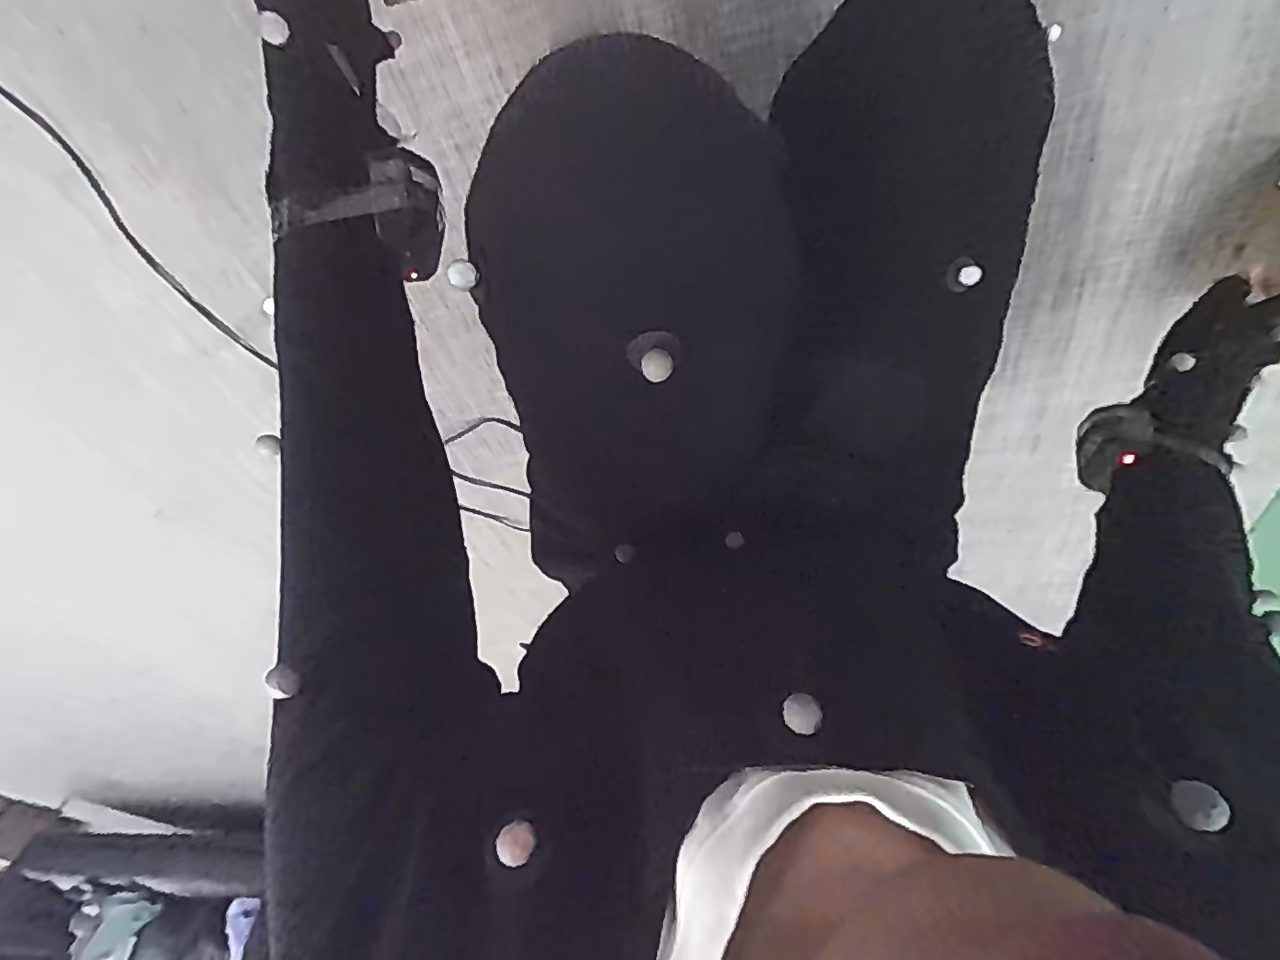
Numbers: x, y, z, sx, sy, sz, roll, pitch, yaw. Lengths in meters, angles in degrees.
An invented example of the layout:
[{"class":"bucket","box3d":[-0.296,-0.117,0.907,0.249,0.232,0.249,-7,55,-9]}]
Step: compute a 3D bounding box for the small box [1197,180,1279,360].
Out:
[{"class":"small box","box3d":[0.697,-0.204,0.497,0.179,0.176,0.168,-1,136,7]}]
